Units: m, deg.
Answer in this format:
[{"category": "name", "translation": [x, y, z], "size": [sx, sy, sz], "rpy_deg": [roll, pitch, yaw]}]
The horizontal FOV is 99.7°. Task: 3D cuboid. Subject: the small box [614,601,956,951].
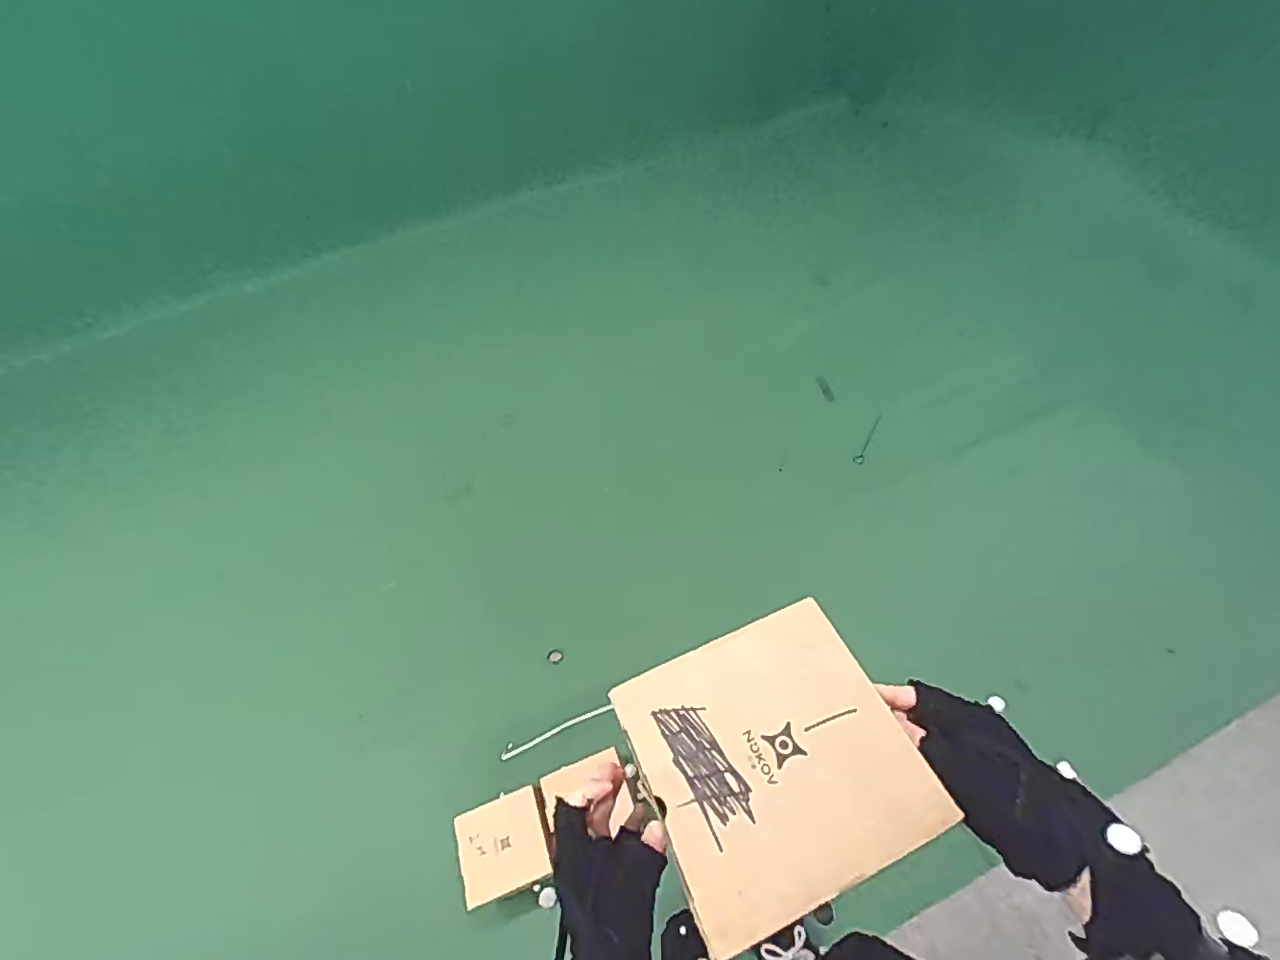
[{"category": "small box", "translation": [0.095, 0.231, 0.429], "size": [0.179, 0.176, 0.168], "rpy_deg": [-20, 54, -11]}]
